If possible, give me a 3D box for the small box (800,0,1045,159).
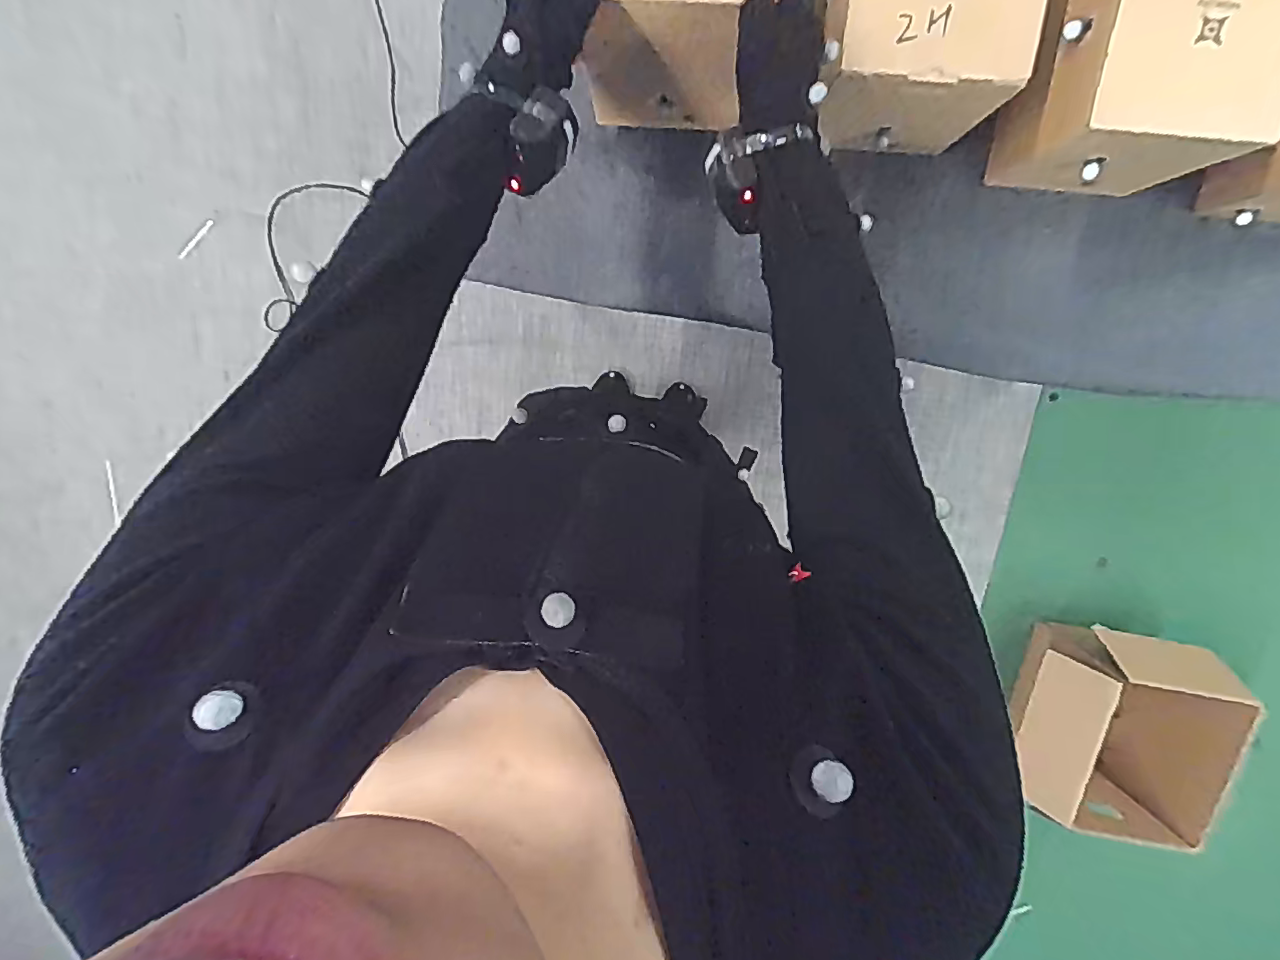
[{"bbox_3d":[0.265,-0.448,0.532,0.168,0.176,0.179,5,103,3],"label":"small box"}]

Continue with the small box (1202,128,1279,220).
[{"bbox_3d":[0.722,-0.361,0.526,0.168,0.176,0.179,6,102,2],"label":"small box"}]

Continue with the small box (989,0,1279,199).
[{"bbox_3d":[0.484,-0.397,0.534,0.168,0.176,0.179,6,102,2],"label":"small box"}]
